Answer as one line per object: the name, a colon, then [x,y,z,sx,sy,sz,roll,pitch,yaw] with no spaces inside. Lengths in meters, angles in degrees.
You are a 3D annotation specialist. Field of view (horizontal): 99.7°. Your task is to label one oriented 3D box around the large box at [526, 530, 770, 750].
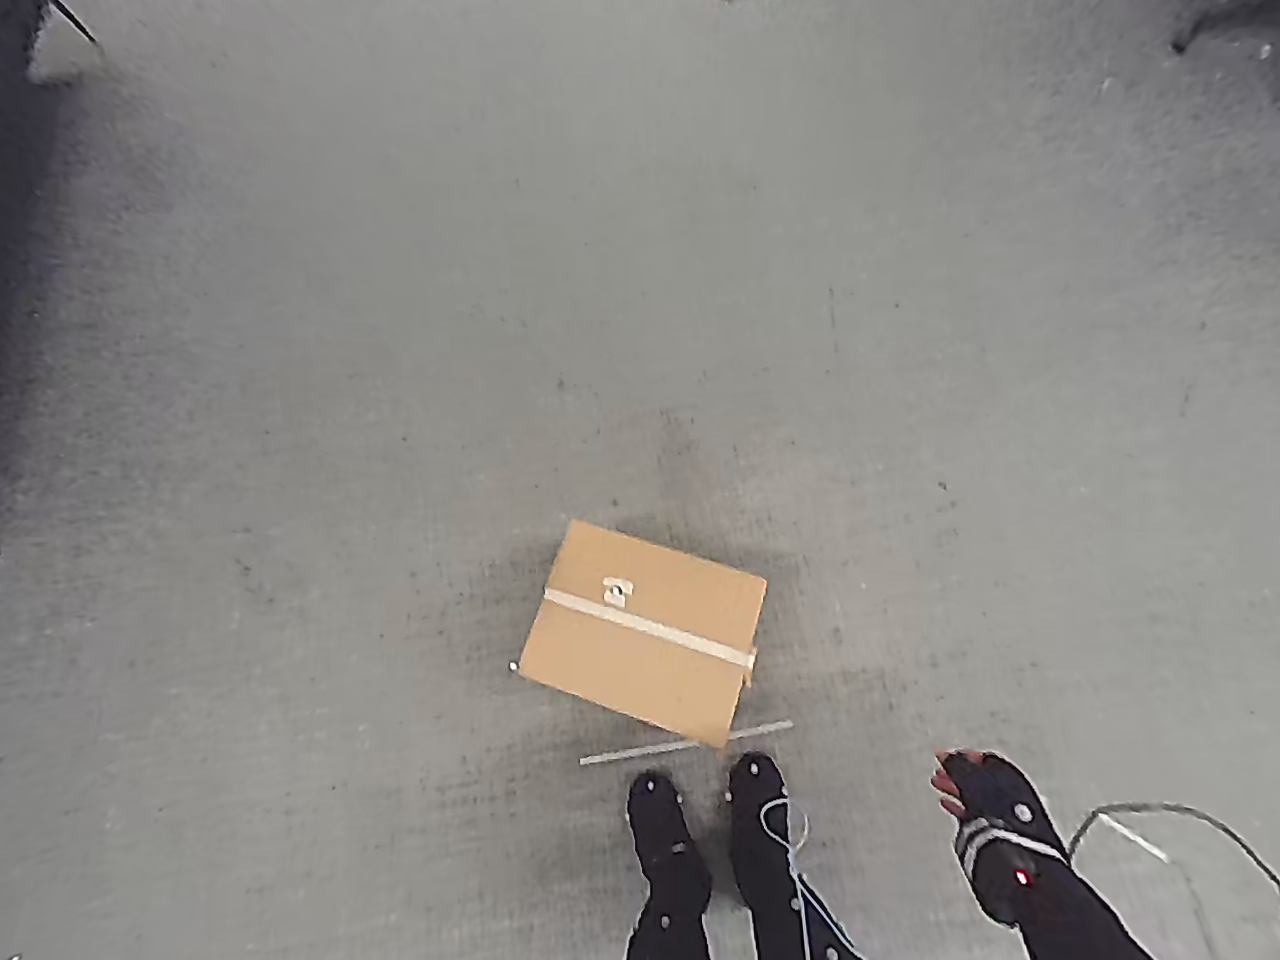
large box: [0.034,0.332,1.158,0.408,0.320,0.320,15,73,11]
